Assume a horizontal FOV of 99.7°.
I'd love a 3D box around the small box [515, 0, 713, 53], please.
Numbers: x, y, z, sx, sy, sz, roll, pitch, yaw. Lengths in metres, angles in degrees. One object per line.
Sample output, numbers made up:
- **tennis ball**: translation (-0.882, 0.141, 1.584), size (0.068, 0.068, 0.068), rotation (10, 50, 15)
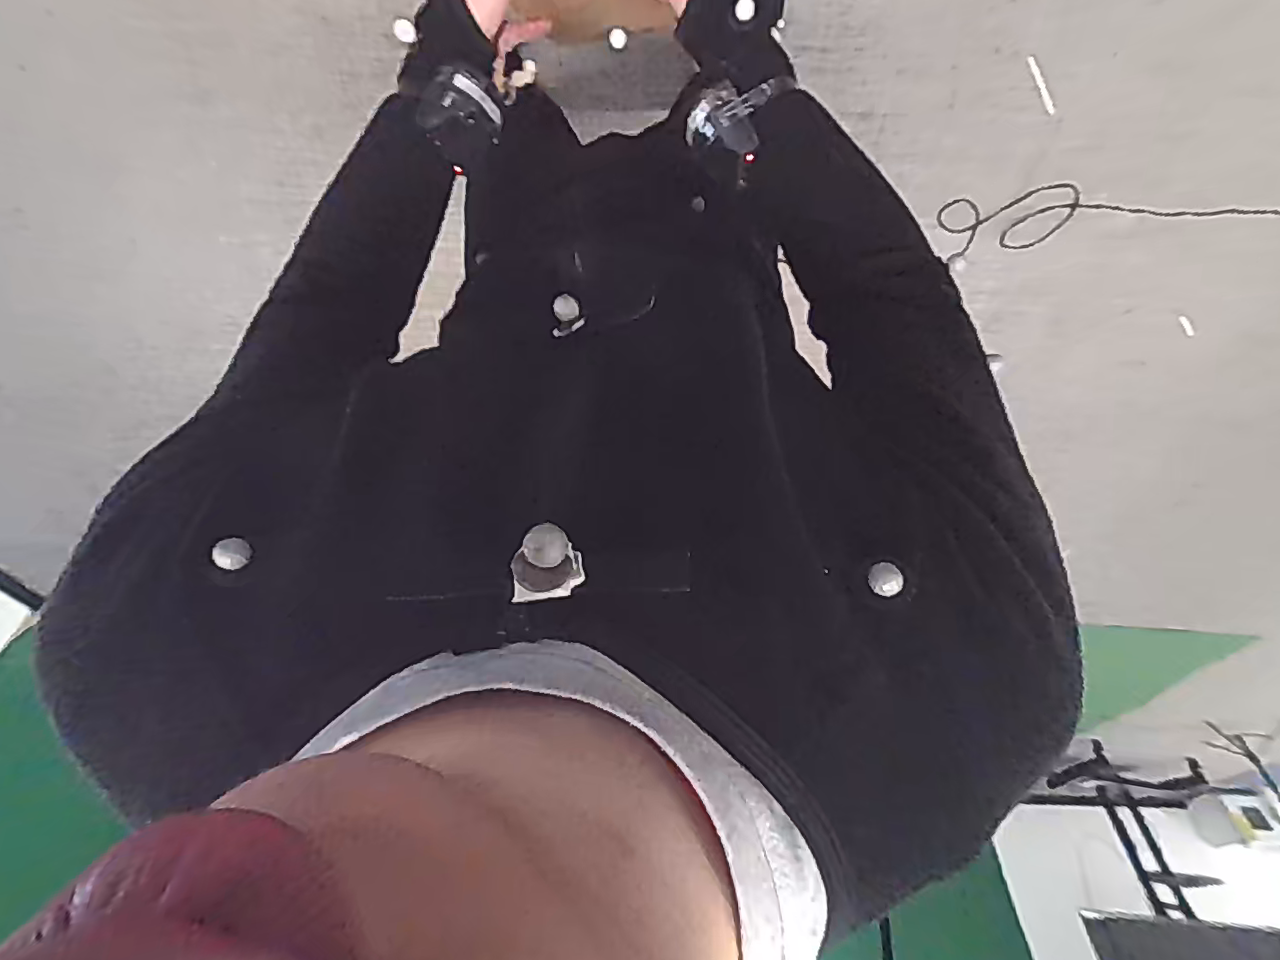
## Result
- **small box**: translation (-0.024, -0.516, 0.477), size (0.168, 0.176, 0.179), rotation (0, 116, 13)
